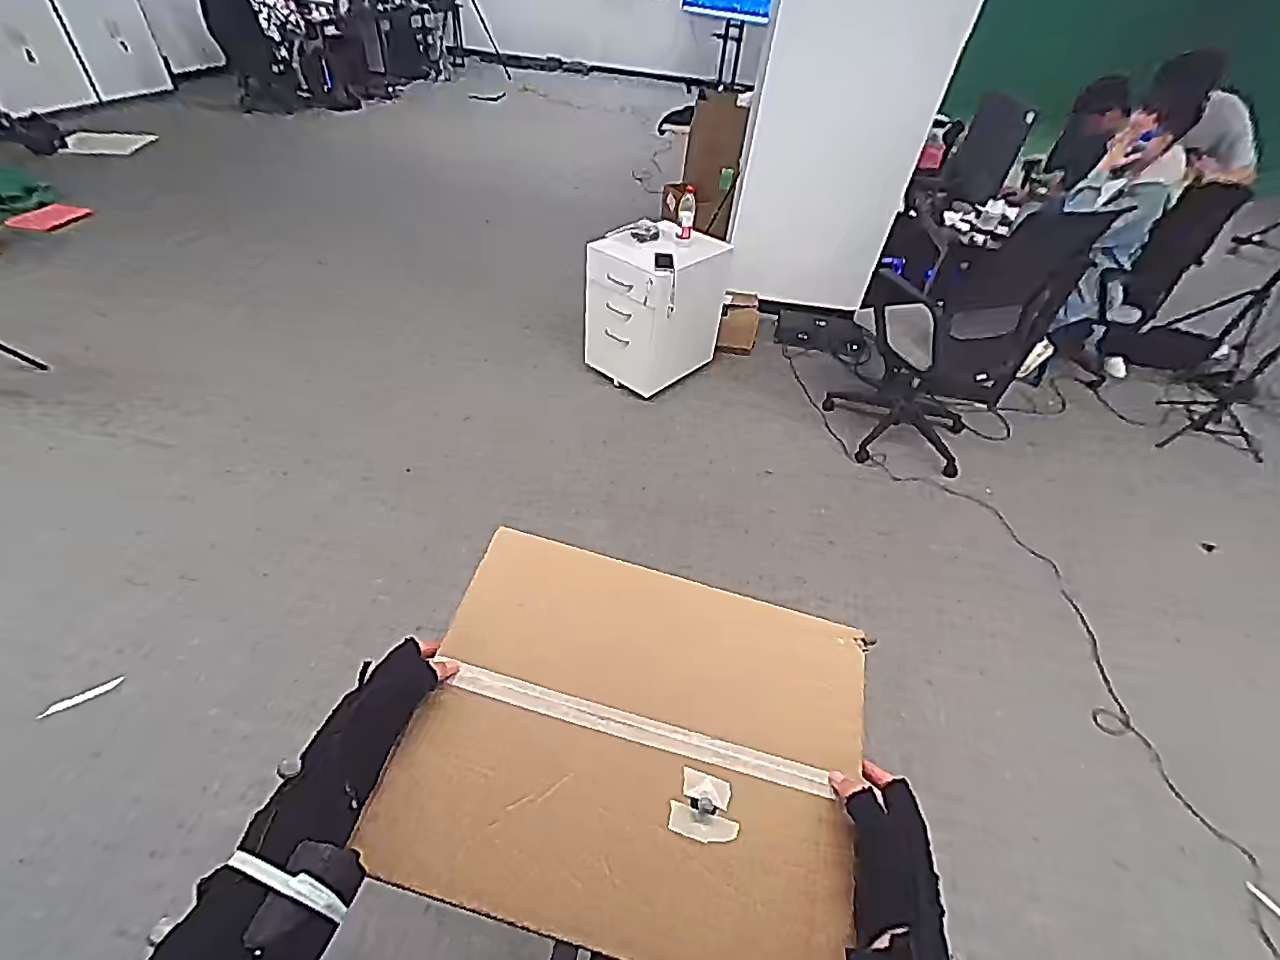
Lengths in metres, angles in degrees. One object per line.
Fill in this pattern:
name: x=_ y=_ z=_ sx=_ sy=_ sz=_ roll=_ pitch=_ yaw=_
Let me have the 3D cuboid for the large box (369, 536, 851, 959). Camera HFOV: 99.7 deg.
large box: x=-0.015 y=0.312 z=0.635 sx=0.408 sy=0.320 sz=0.320 roll=15 pitch=56 yaw=2
